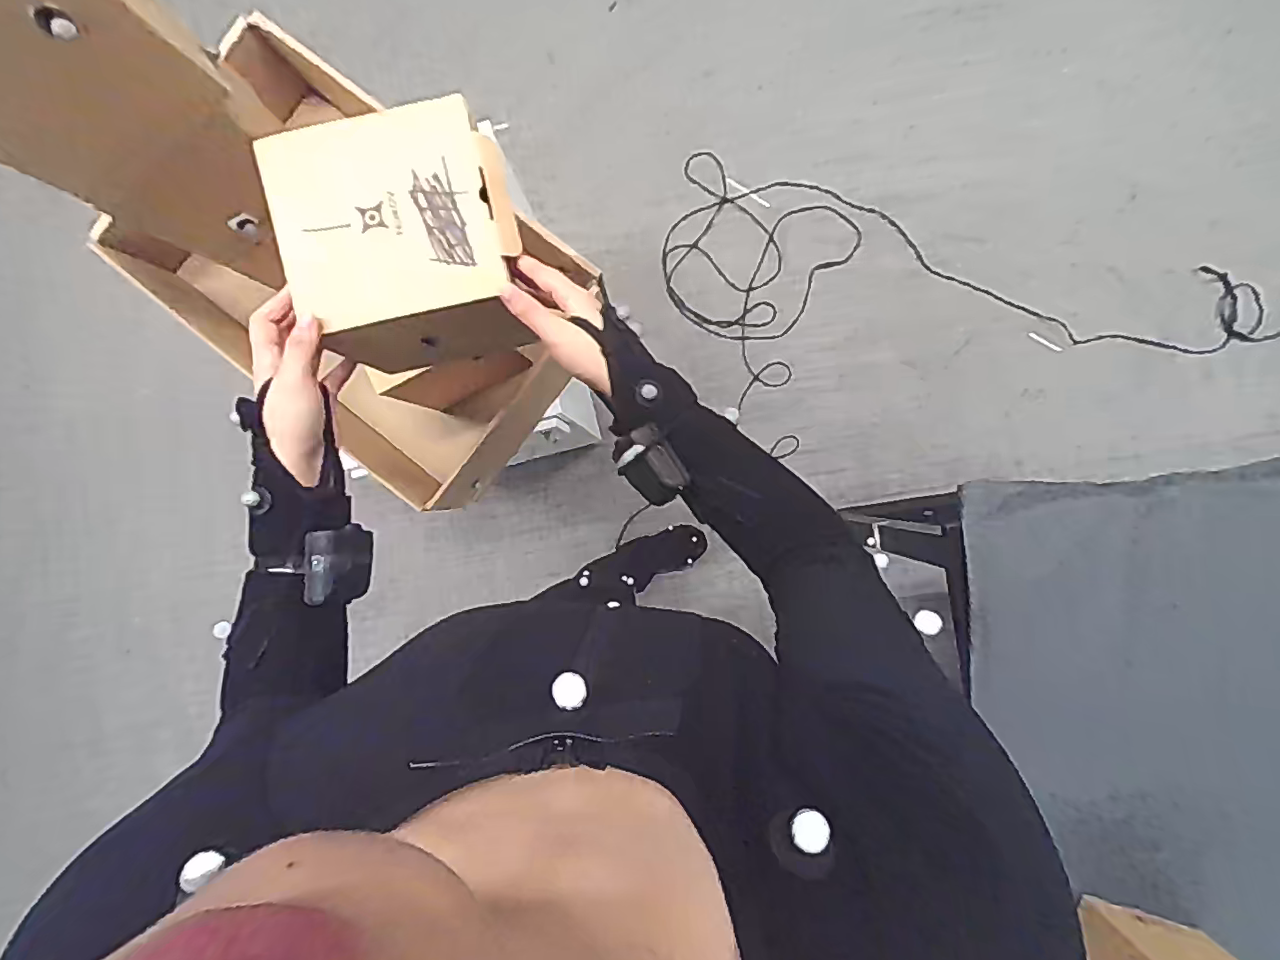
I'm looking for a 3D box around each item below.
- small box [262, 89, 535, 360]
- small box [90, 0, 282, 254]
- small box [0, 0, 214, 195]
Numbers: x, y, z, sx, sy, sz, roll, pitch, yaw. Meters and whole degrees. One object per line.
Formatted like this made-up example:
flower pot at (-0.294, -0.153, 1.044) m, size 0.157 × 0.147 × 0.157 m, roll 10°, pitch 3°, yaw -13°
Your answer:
small box at (-0.205, -0.223, 0.517) m, size 0.179 × 0.176 × 0.168 m, roll -12°, pitch 92°, yaw -1°
small box at (-0.524, -0.400, 0.621) m, size 0.168 × 0.176 × 0.179 m, roll -36°, pitch 90°, yaw 4°
small box at (-0.516, -0.391, 0.455) m, size 0.179 × 0.176 × 0.168 m, roll -39°, pitch 88°, yaw 4°
